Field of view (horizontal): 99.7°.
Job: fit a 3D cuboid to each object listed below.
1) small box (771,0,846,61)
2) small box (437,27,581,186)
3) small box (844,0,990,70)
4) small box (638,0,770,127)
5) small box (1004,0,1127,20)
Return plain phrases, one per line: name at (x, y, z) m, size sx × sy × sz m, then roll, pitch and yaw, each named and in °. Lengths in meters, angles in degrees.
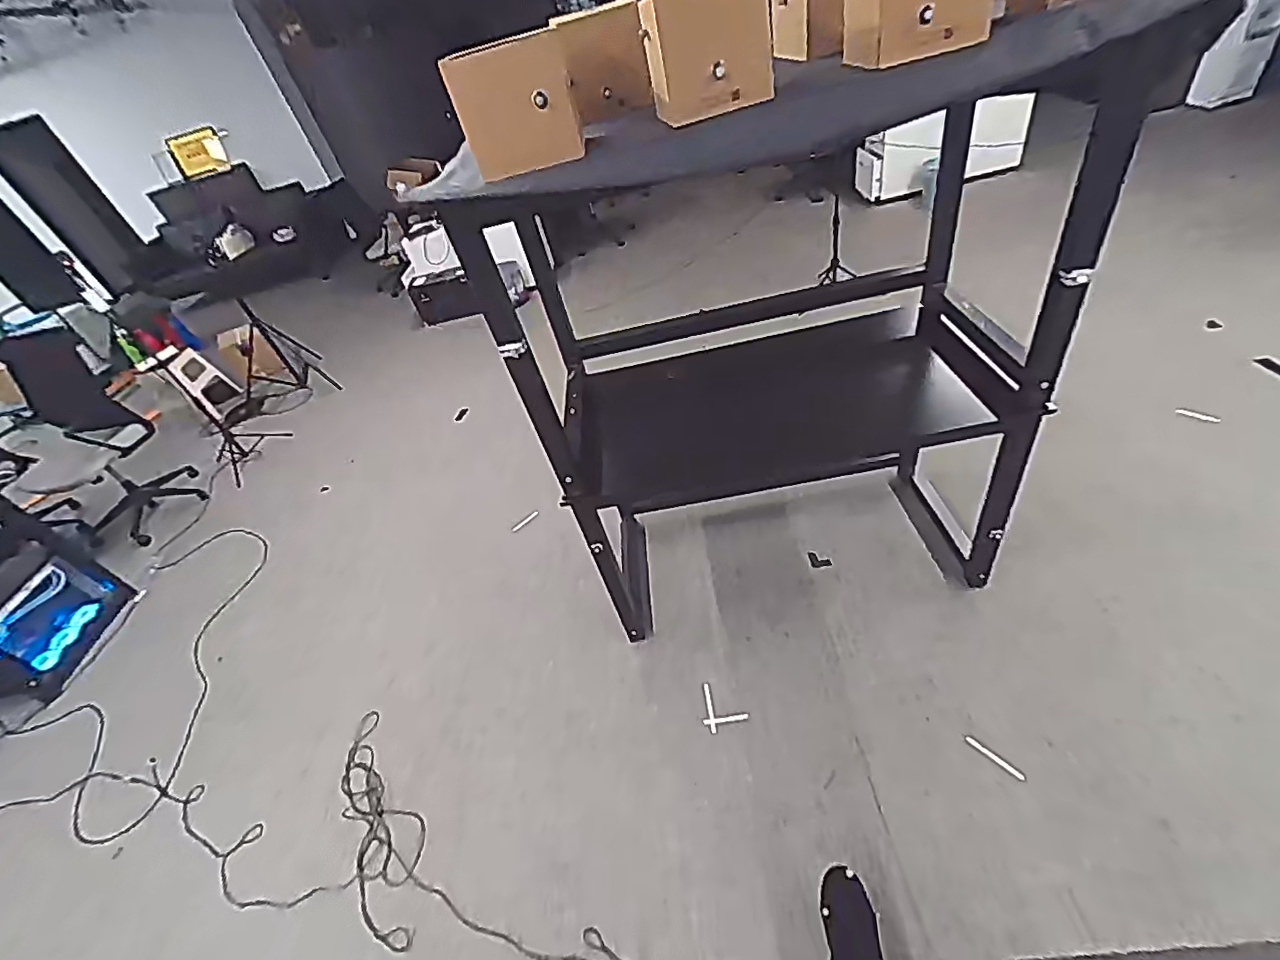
small box at (0.365, -0.955, 1.073) m, size 0.168 × 0.176 × 0.179 m, roll -18°, pitch 41°, yaw -1°
small box at (-0.198, -0.606, 0.880) m, size 0.179 × 0.176 × 0.168 m, roll -12°, pitch 41°, yaw 5°
small box at (0.428, -0.766, 0.848) m, size 0.168 × 0.176 × 0.179 m, roll -11°, pitch 41°, yaw 7°
small box at (0.101, -0.686, 0.866) m, size 0.168 × 0.176 × 0.179 m, roll -15°, pitch 39°, yaw 3°
small box at (0.695, -0.836, 0.831) m, size 0.168 × 0.176 × 0.179 m, roll -6°, pitch 41°, yaw 14°
